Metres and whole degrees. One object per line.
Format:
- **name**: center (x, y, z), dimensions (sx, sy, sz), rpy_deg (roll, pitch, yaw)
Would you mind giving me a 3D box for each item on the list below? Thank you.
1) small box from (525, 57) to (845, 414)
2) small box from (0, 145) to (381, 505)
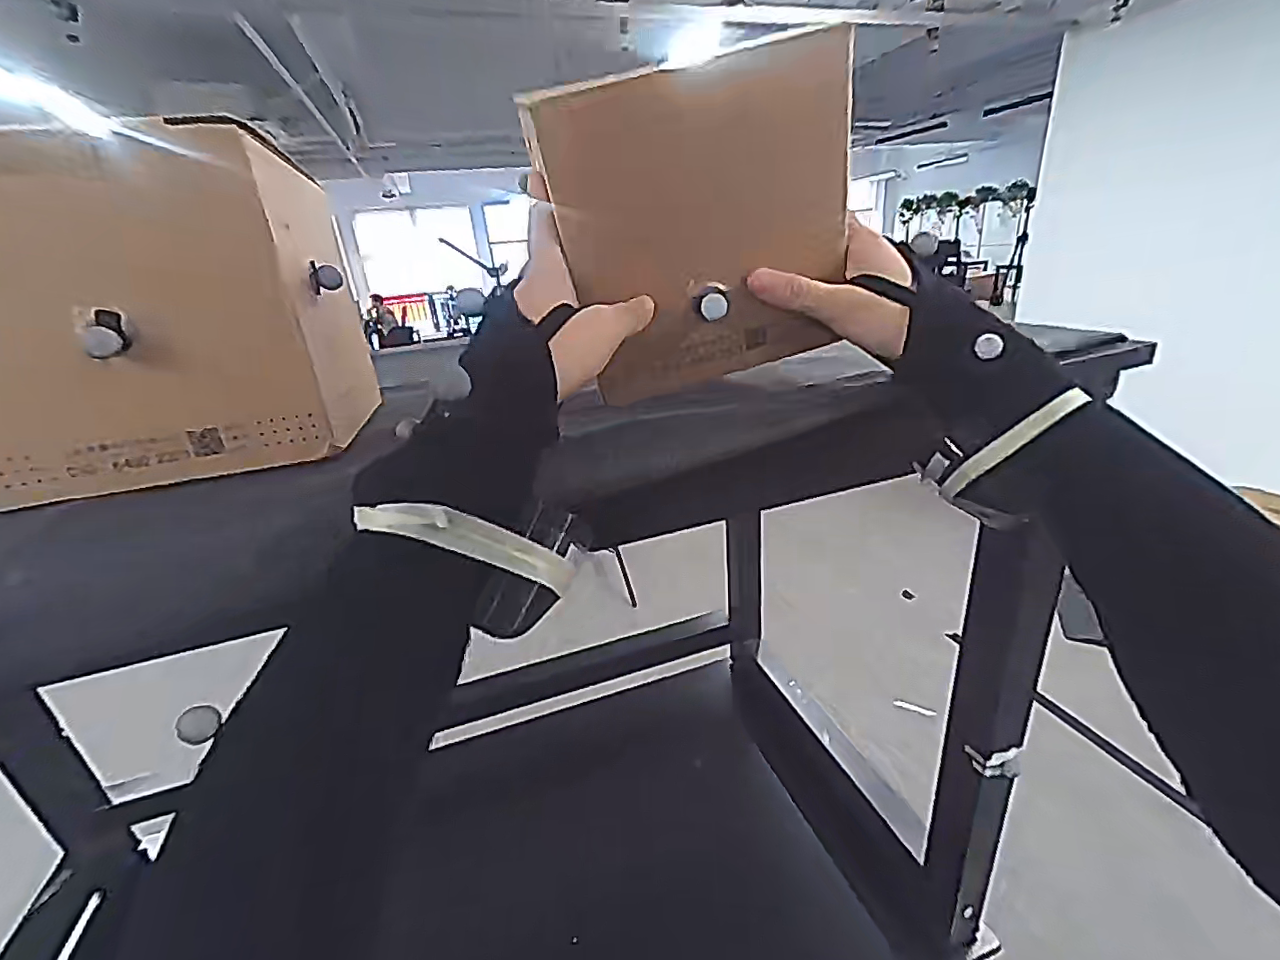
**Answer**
- **small box**: center (0.024, -0.169, 0.383), dimensions (0.168, 0.176, 0.179), rpy_deg (-17, 35, -4)
- **small box**: center (-0.279, -0.093, 0.342), dimensions (0.168, 0.176, 0.179), rpy_deg (-11, 22, -15)
